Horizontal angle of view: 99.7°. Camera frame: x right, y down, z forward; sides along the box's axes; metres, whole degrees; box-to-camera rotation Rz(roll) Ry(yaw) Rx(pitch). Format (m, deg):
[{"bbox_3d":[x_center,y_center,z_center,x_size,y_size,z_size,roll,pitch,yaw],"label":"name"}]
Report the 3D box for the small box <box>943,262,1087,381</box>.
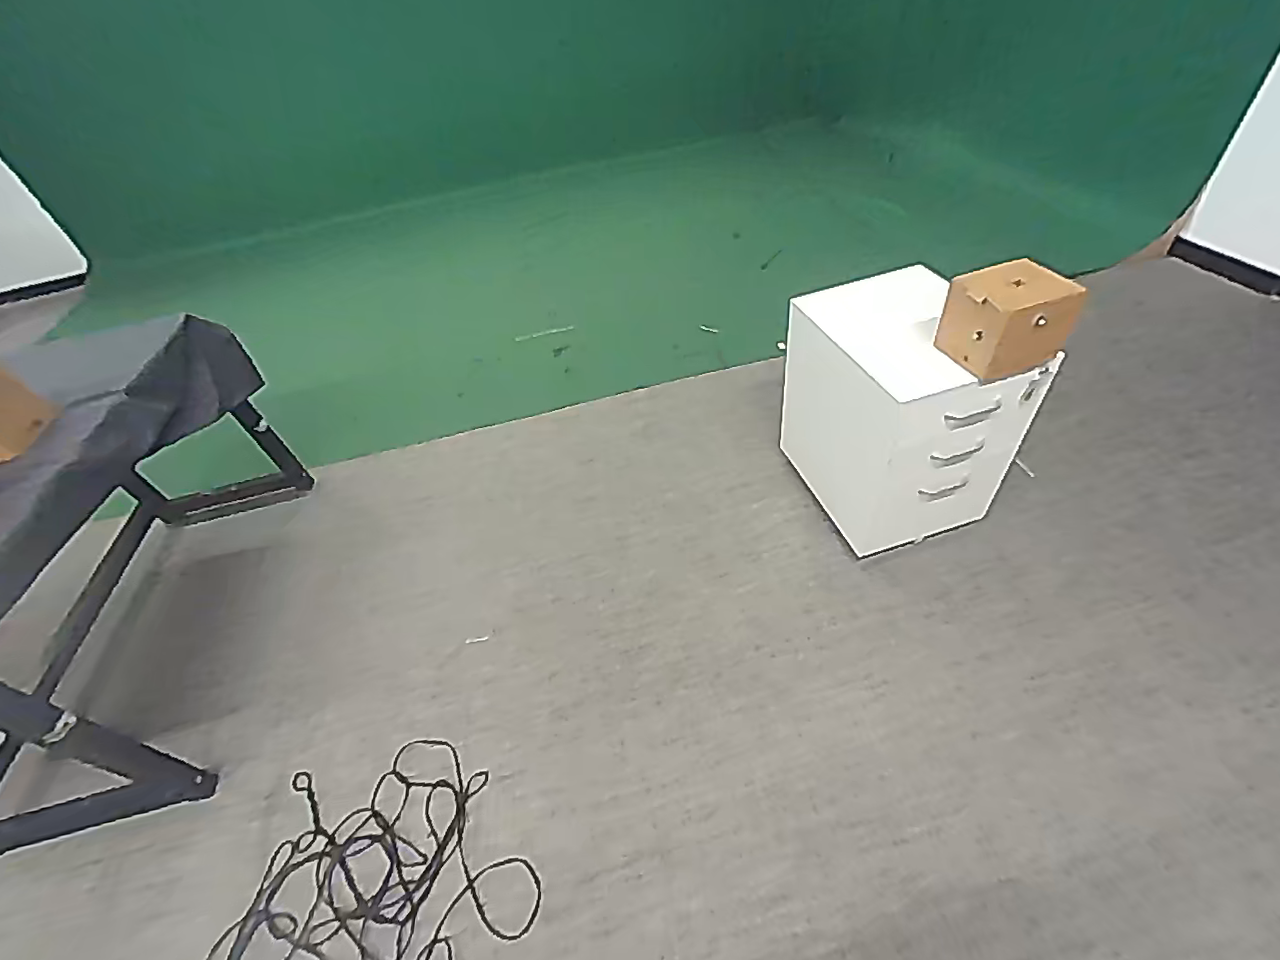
[{"bbox_3d":[0.776,-0.332,1.148,0.179,0.176,0.168,-16,46,-5],"label":"small box"}]
